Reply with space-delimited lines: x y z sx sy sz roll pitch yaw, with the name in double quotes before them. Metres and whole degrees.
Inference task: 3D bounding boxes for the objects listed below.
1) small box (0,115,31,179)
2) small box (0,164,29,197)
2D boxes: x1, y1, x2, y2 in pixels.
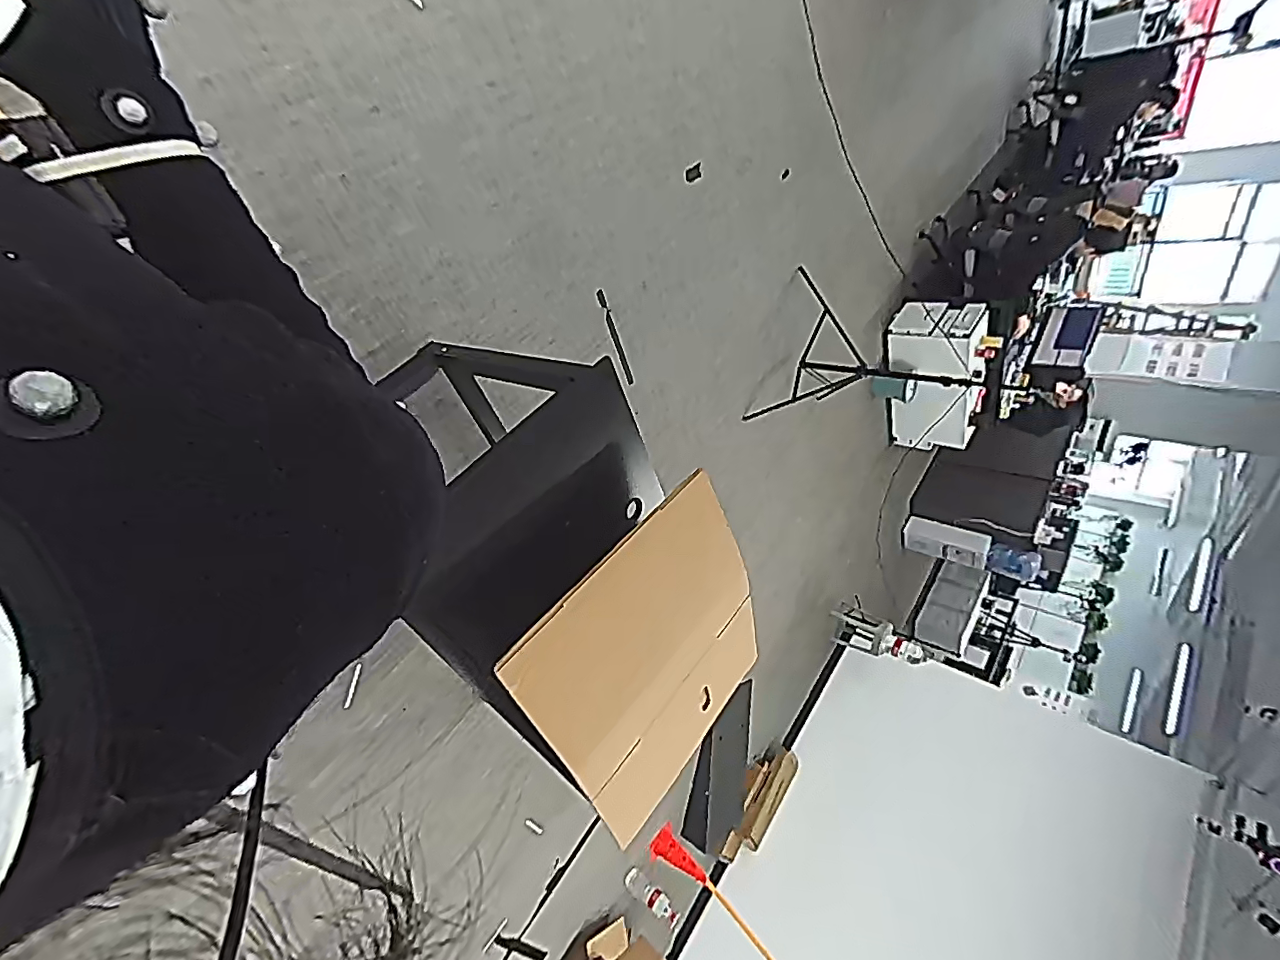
"small box" -0.979 -0.469 0.715 0.179 0.176 0.168 -54 138 -23
"small box" -1.102 -0.501 0.817 0.179 0.176 0.168 -50 135 -24
